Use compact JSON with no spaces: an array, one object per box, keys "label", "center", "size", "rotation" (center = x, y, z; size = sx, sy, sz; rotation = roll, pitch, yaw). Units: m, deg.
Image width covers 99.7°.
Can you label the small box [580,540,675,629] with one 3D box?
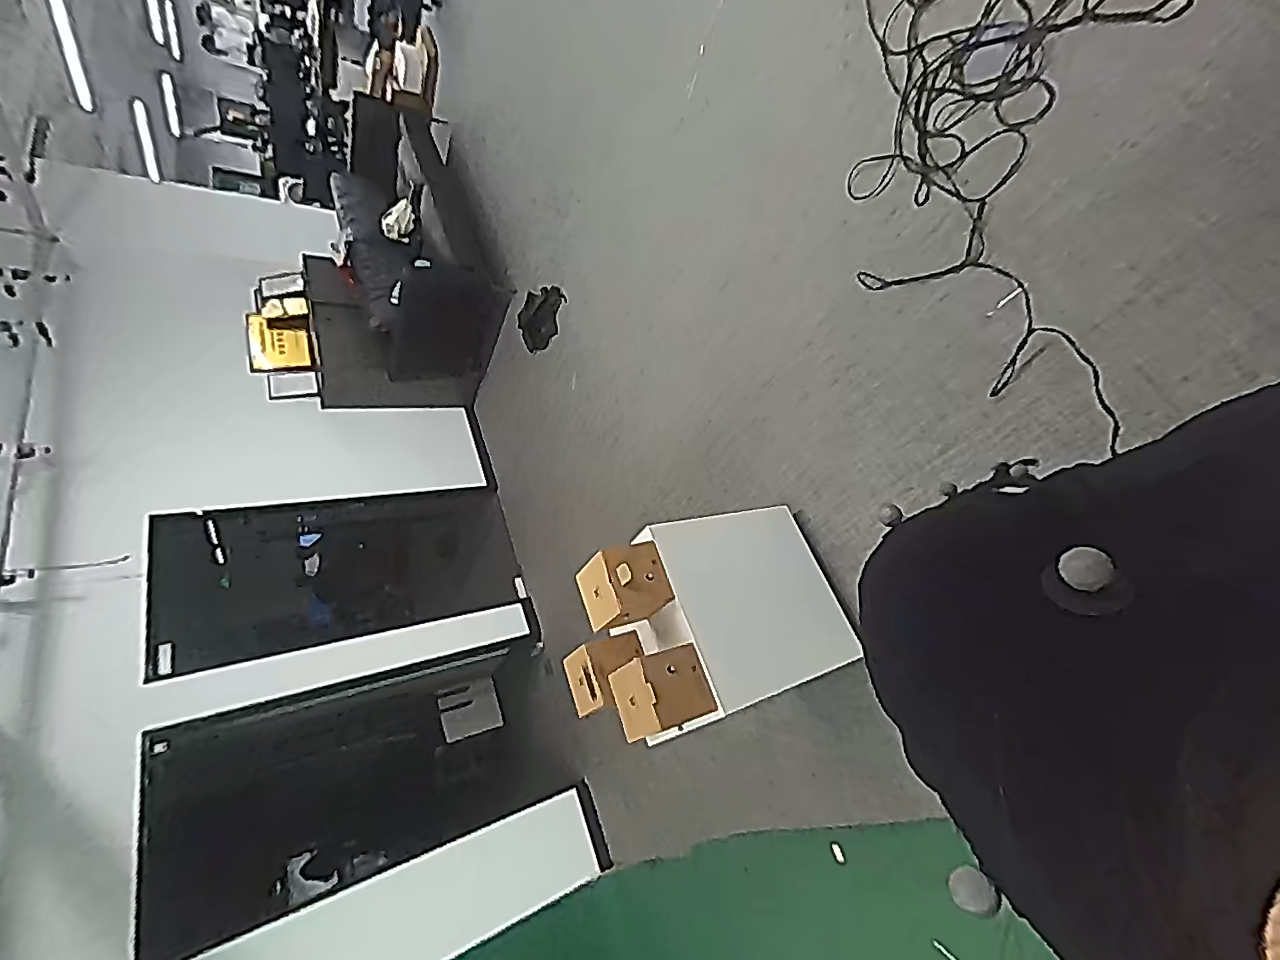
[{"label":"small box","center":[-0.034,0.272,1.419],"size":[0.179,0.176,0.168],"rotation":[-50,54,47]}]

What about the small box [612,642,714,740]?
[{"label":"small box","center":[0.059,0.509,1.310],"size":[0.179,0.176,0.168],"rotation":[-51,51,49]}]
